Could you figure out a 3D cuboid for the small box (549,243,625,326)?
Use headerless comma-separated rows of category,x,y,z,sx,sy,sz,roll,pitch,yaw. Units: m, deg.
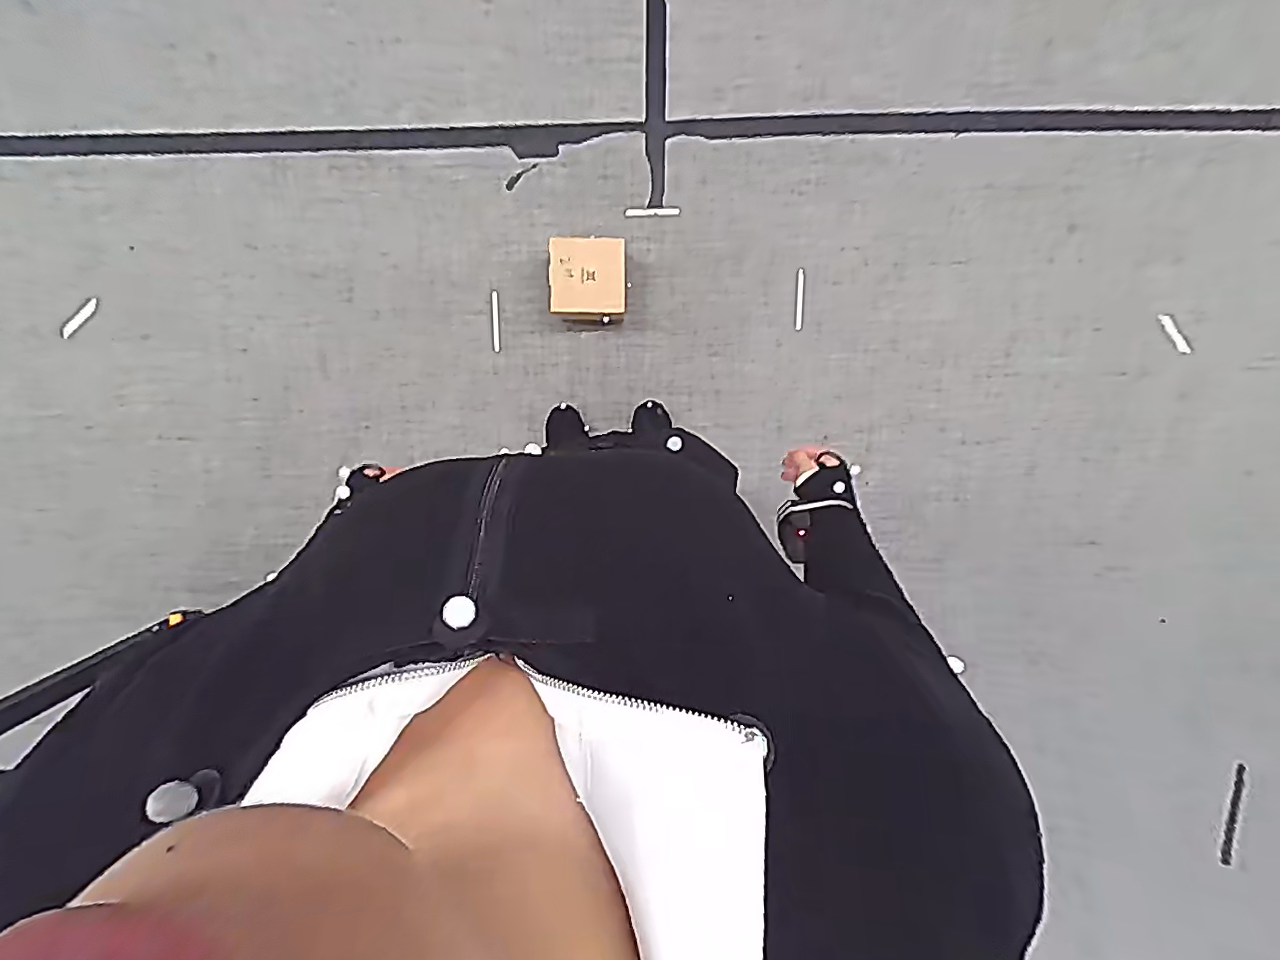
small box,-0.126,-0.478,1.340,0.179,0.176,0.168,1,99,-1
